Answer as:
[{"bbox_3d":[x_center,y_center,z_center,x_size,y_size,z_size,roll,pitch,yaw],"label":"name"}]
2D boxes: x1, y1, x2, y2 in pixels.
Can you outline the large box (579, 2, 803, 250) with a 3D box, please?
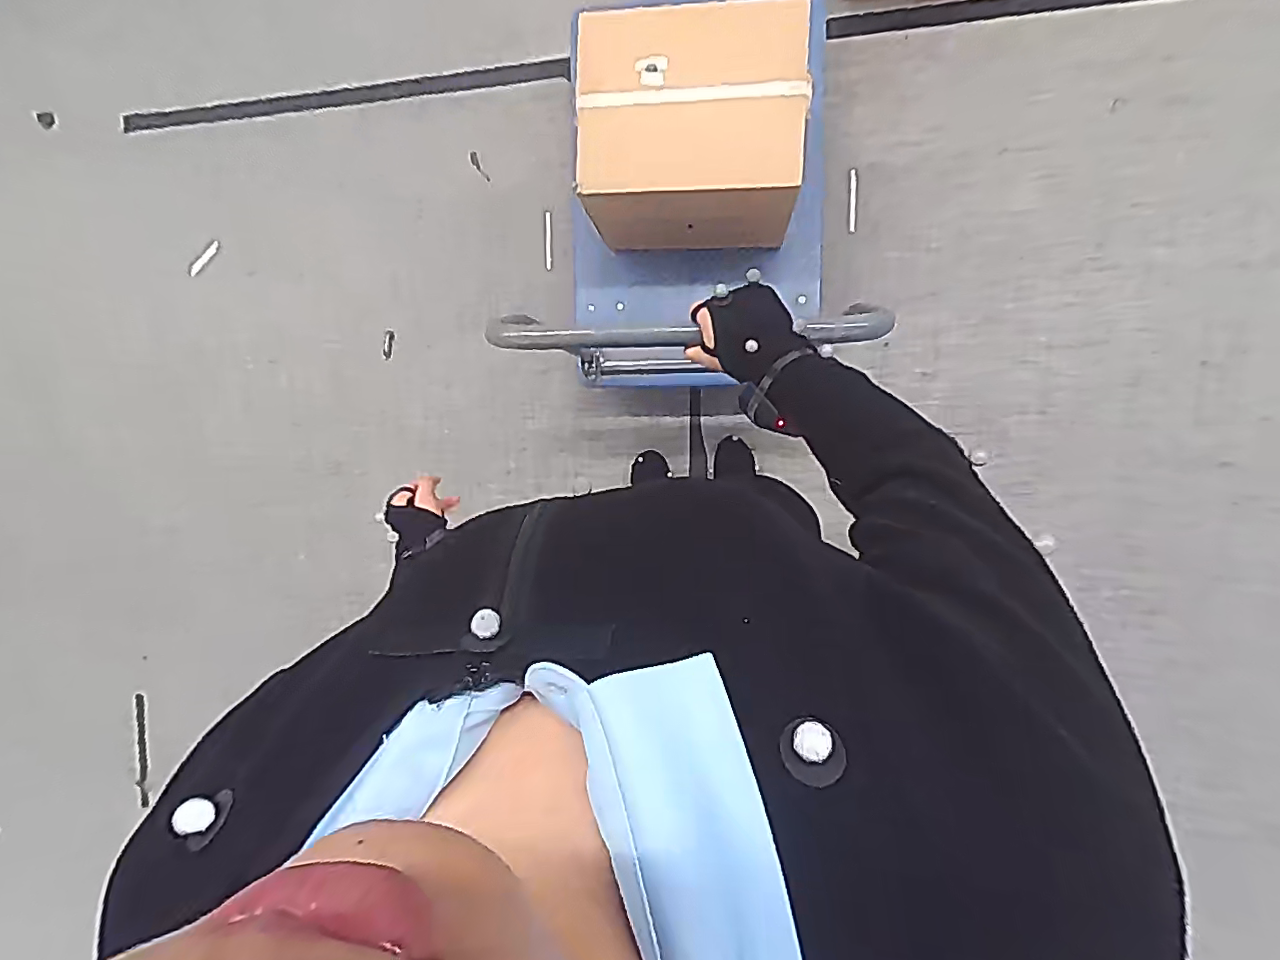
[{"bbox_3d":[0.107,-0.685,1.114,0.408,0.320,0.320,2,94,8],"label":"large box"}]
